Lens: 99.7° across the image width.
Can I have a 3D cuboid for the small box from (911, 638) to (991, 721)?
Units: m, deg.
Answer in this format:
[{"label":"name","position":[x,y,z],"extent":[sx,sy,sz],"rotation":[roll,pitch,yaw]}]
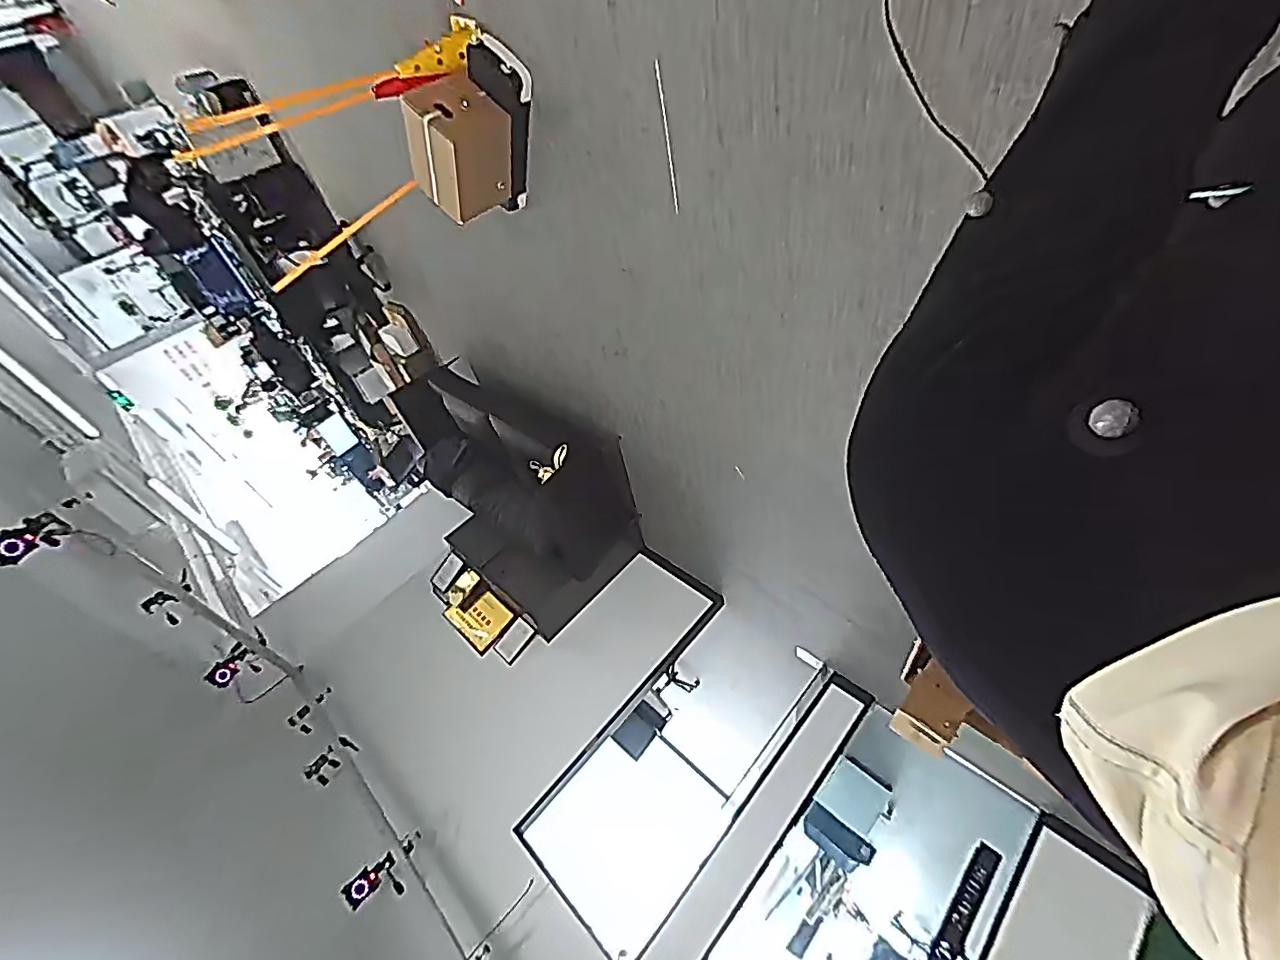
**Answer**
[{"label":"small box","position":[1.063,0.679,1.847],"extent":[0.168,0.176,0.179],"rotation":[32,150,34]}]
